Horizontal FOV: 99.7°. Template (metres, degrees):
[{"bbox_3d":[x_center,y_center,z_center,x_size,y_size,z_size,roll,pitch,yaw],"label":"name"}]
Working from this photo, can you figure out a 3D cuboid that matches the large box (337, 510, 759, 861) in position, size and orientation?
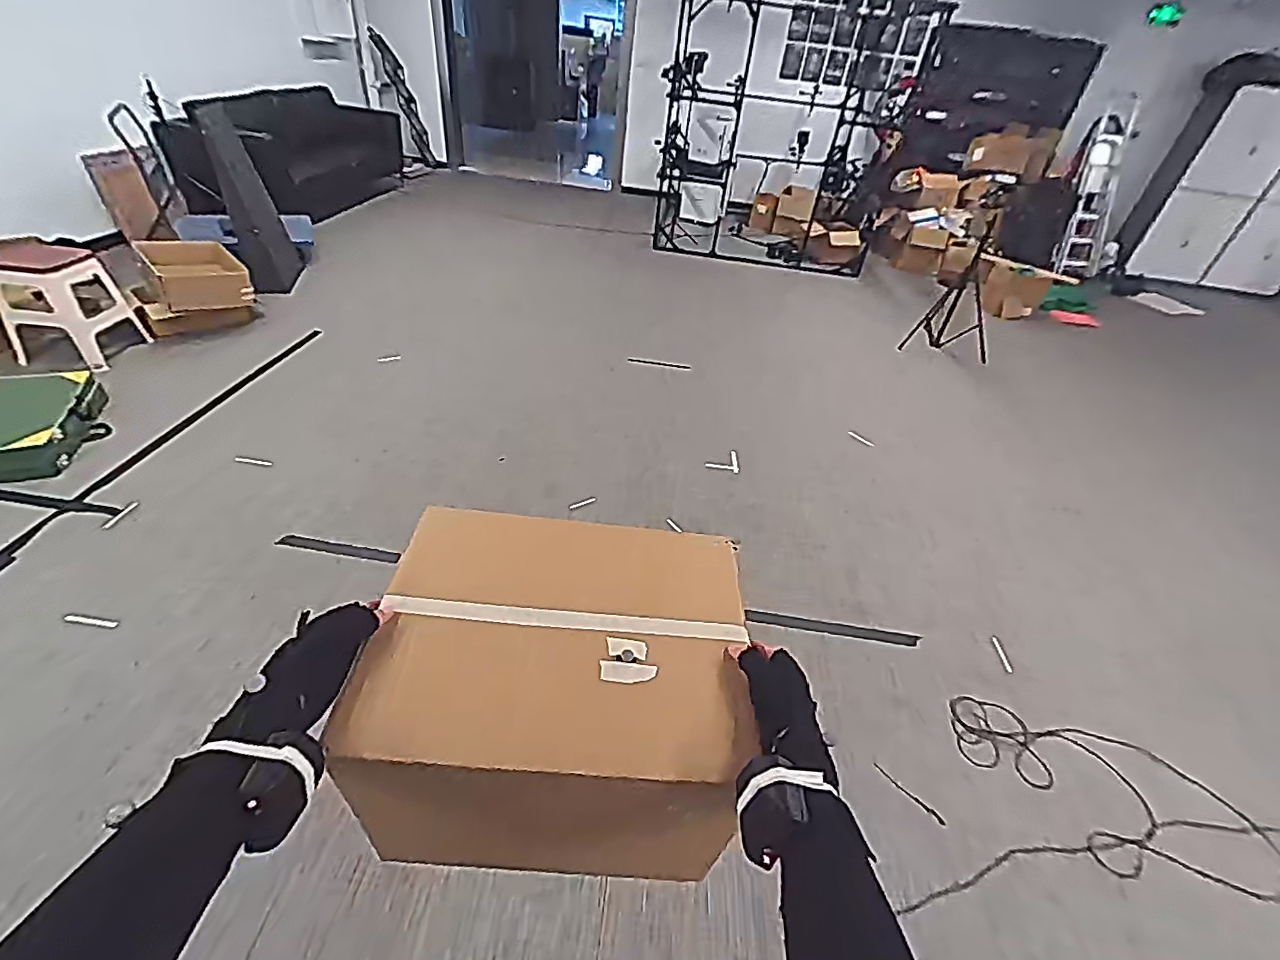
[{"bbox_3d":[-0.100,0.269,0.710,0.408,0.320,0.320,7,41,-4],"label":"large box"}]
